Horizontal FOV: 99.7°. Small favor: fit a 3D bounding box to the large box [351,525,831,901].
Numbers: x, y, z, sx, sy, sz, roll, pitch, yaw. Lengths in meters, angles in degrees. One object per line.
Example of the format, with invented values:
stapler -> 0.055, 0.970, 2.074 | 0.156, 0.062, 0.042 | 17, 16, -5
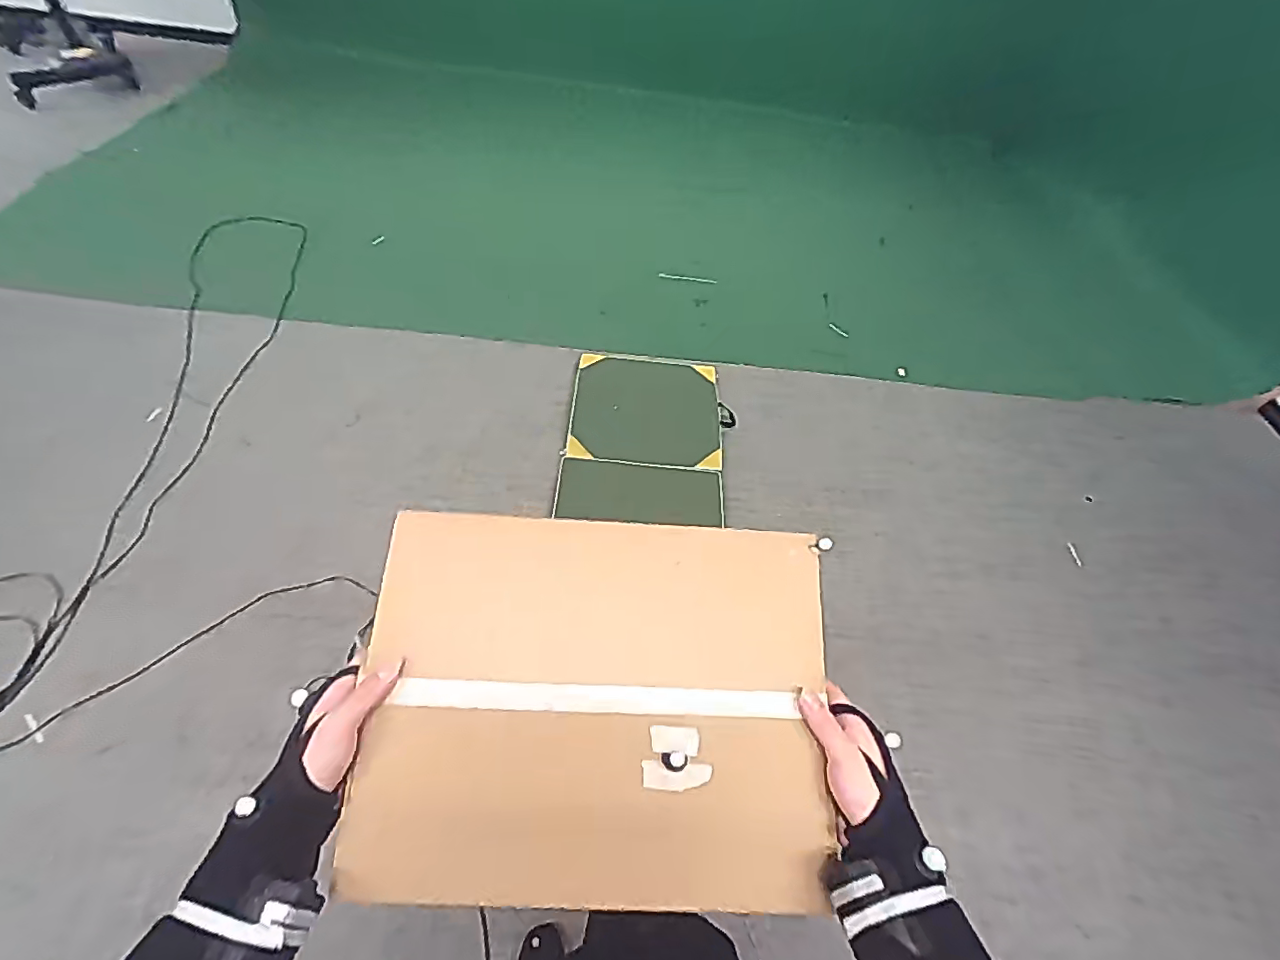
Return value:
large box -> -0.044, 0.244, 0.629 | 0.408, 0.320, 0.320 | 3, 73, -3
